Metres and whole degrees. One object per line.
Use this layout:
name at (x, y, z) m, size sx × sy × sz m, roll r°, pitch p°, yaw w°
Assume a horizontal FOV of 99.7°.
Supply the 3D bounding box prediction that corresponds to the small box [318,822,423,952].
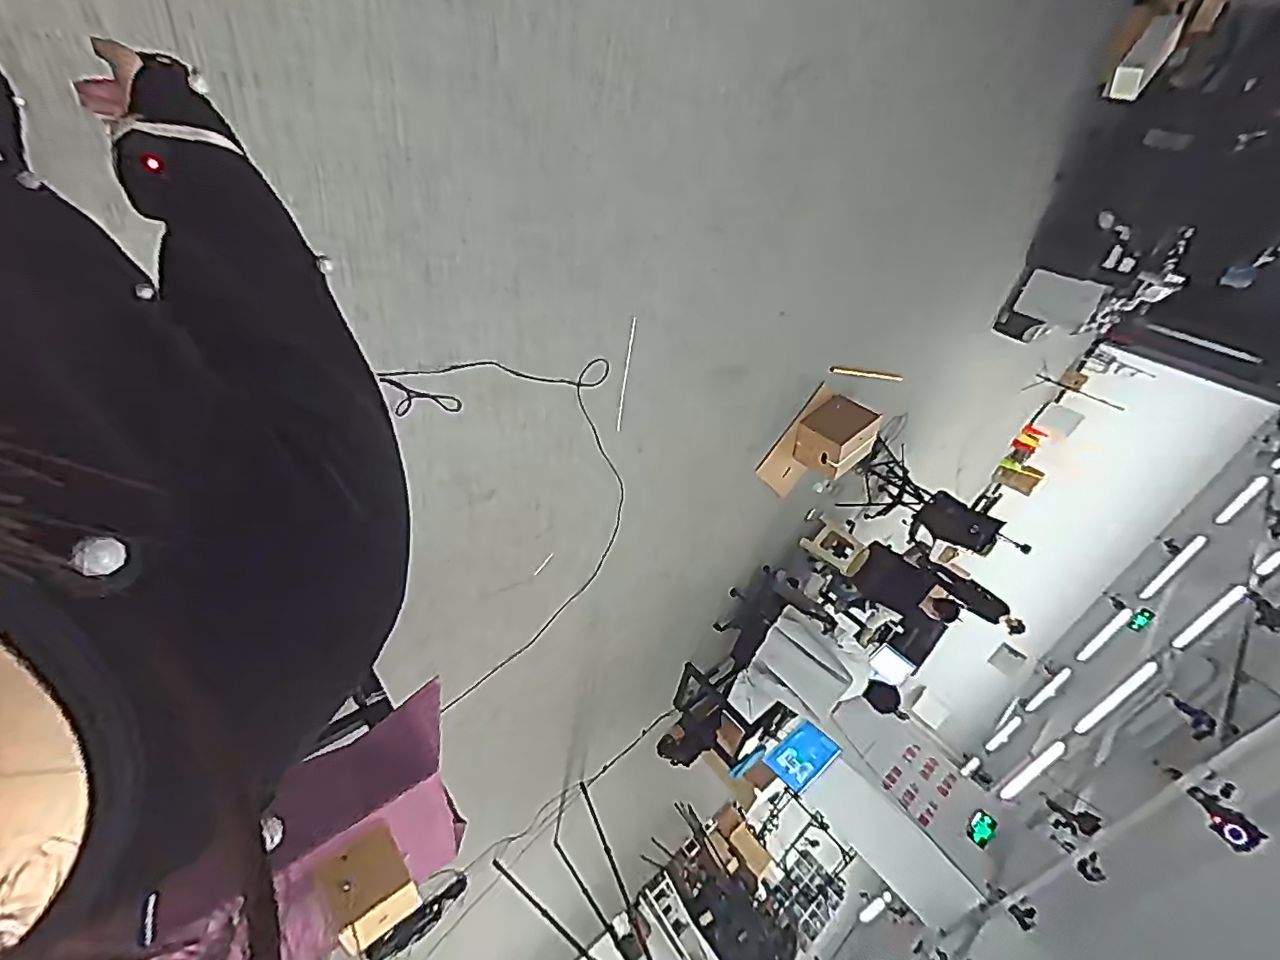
small box at (-0.649, 0.972, 1.305) m, size 0.168 × 0.176 × 0.179 m, roll -24°, pitch 139°, yaw -34°
